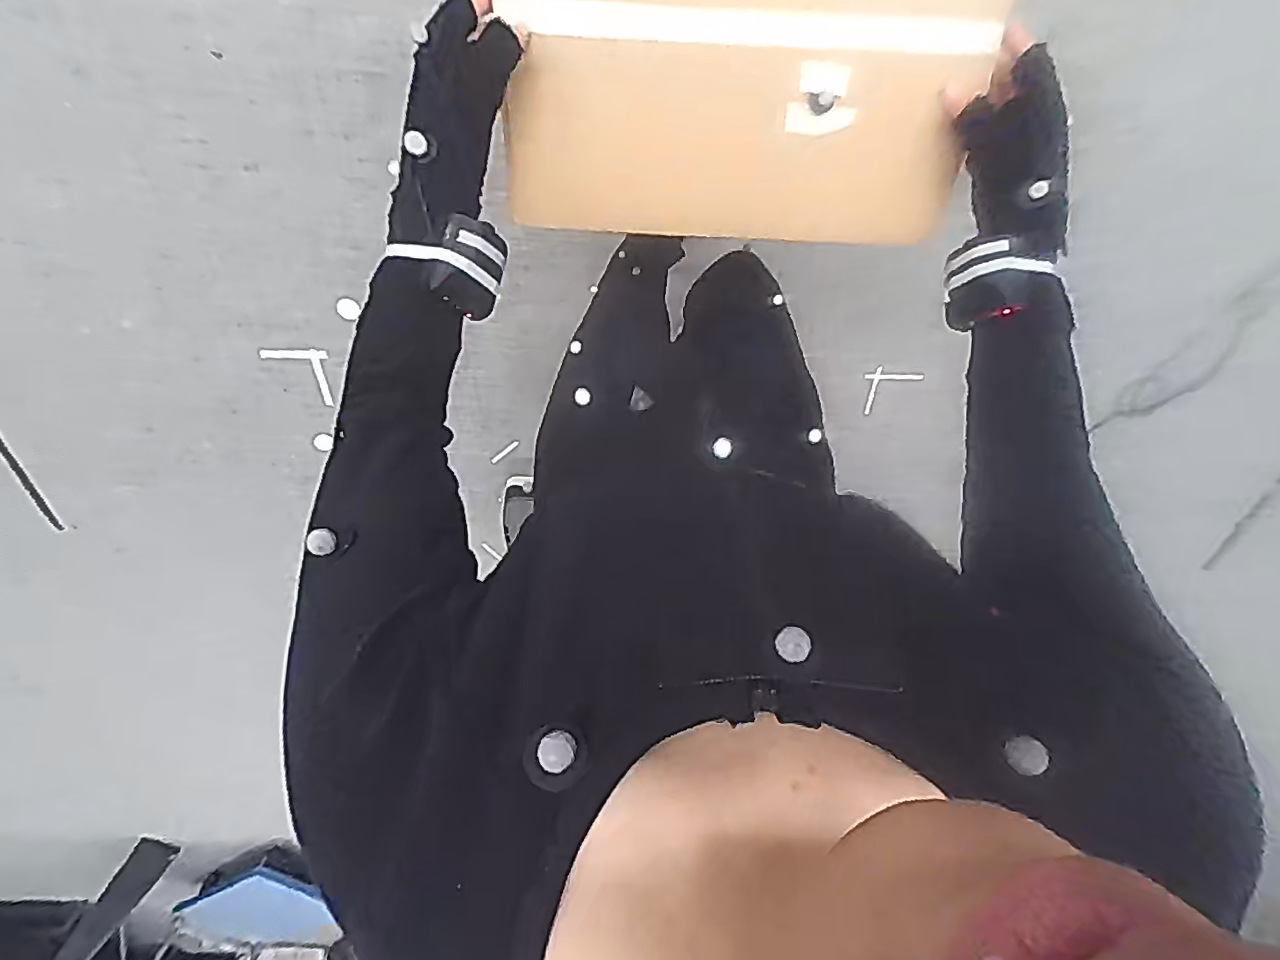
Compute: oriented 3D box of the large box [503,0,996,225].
[{"bbox_3d":[0.084,-0.461,0.560,0.408,0.320,0.320,1,125,-2],"label":"large box"}]
